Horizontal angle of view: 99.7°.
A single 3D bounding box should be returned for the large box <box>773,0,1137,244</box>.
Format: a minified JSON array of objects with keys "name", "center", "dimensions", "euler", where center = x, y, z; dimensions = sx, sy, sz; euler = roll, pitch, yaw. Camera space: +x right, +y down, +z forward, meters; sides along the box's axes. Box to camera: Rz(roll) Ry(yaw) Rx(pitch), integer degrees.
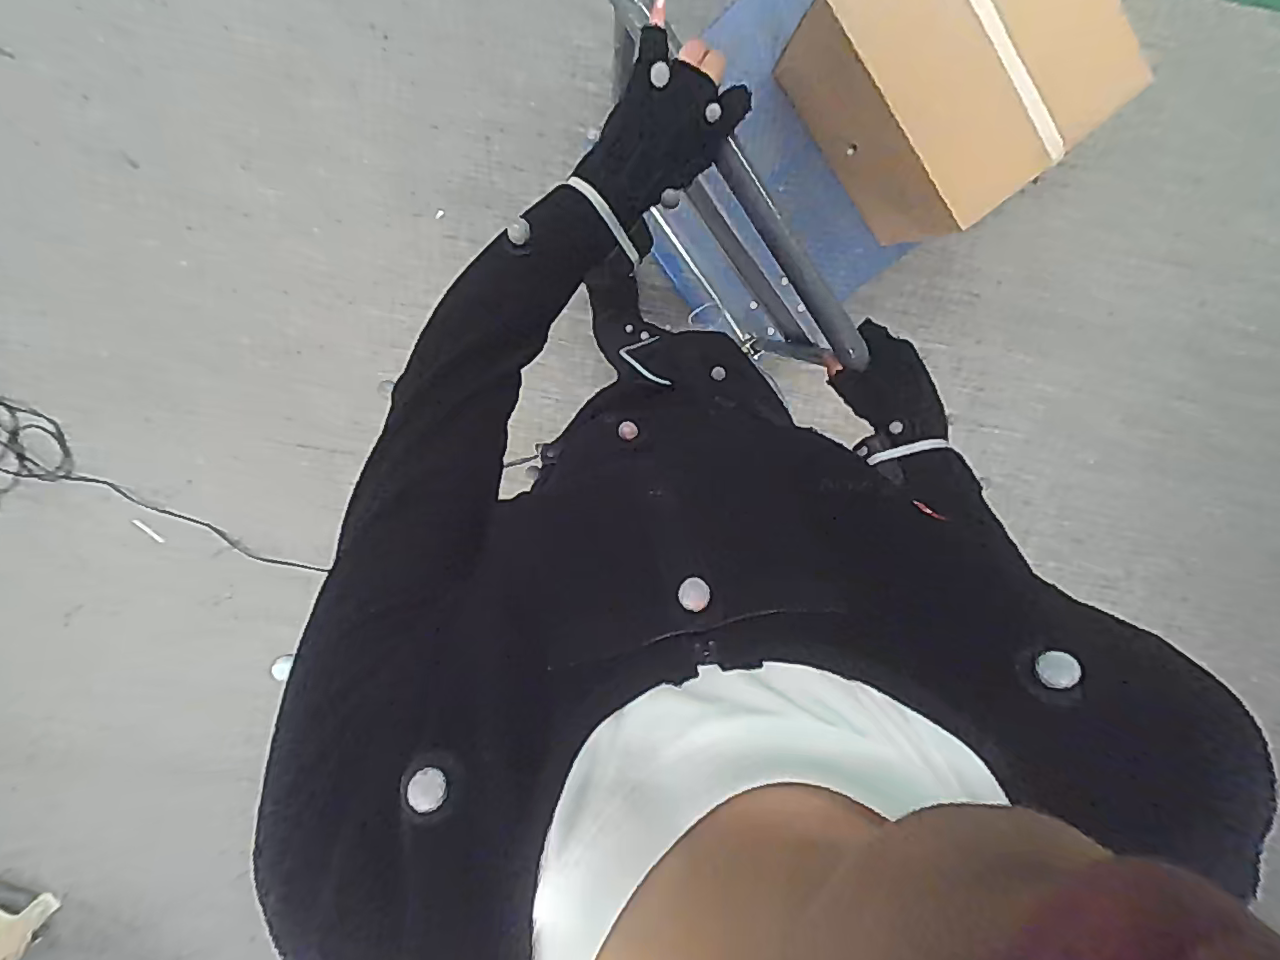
[{"name":"large box","center":[0.491,-0.677,0.919],"dimensions":[0.320,0.320,0.408],"euler":[-38,104,11]}]
